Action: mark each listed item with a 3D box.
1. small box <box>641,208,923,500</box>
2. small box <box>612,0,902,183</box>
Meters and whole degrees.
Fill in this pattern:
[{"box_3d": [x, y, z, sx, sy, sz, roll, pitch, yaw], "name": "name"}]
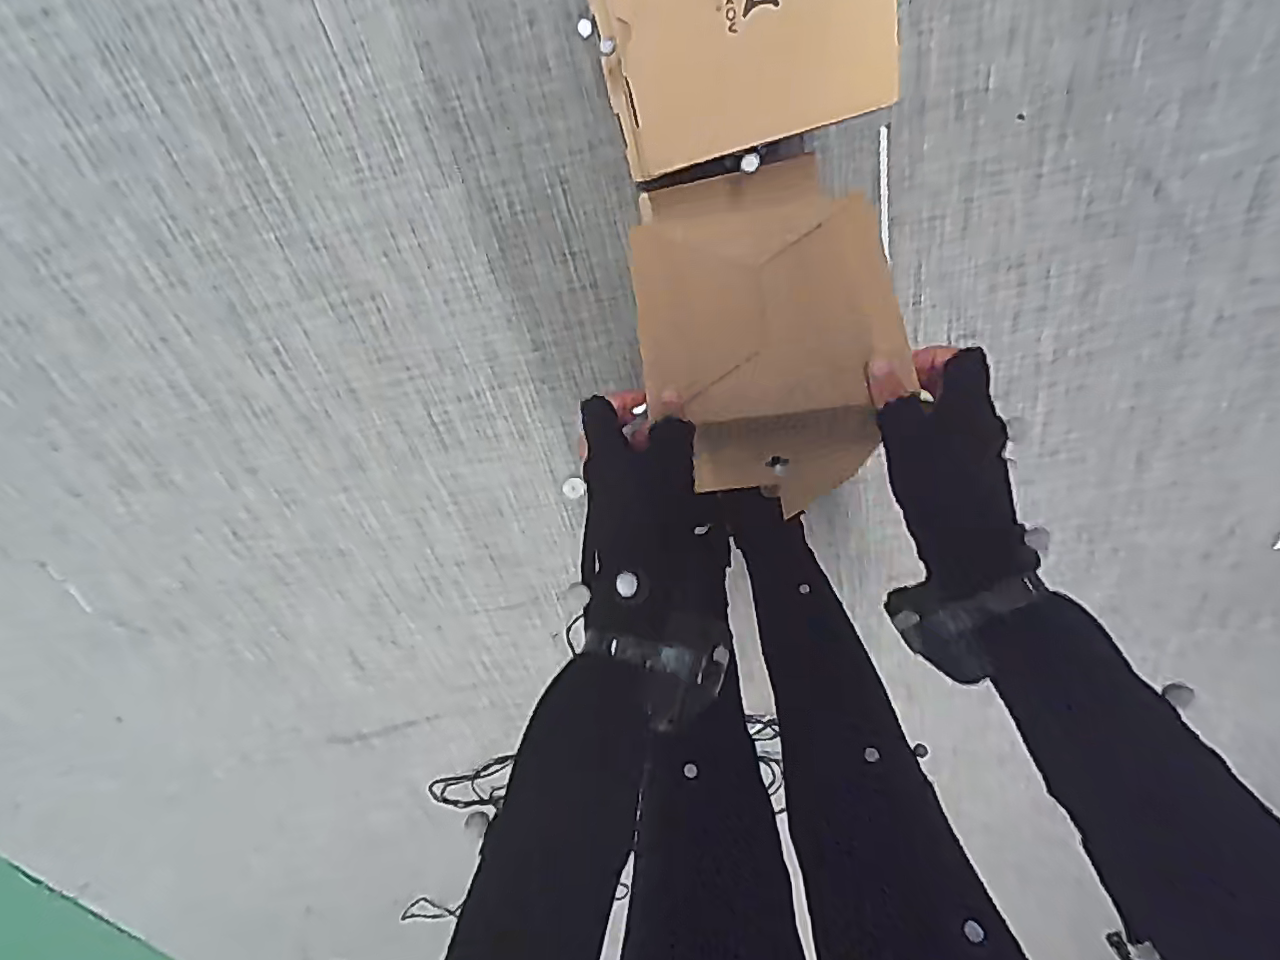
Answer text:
[{"box_3d": [0.098, -0.091, 0.445, 0.179, 0.168, 0.176, -6, 161, 6], "name": "small box"}, {"box_3d": [0.074, -0.339, 0.407, 0.179, 0.176, 0.168, -12, 119, 9], "name": "small box"}]
